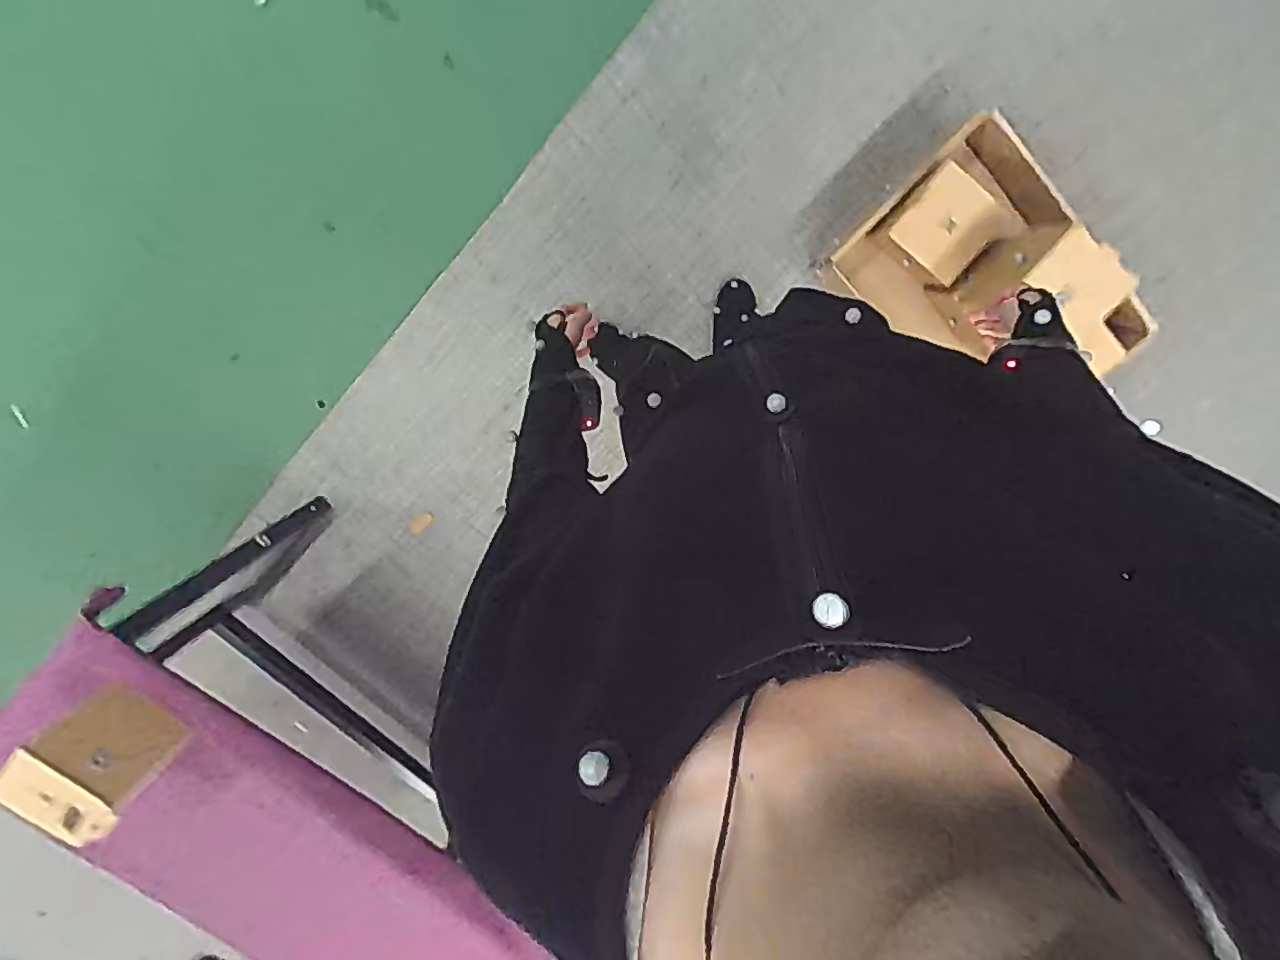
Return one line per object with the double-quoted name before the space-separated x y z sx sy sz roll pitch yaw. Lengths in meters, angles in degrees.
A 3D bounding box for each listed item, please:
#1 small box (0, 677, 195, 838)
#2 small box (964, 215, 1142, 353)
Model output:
"small box" -0.990 0.506 1.001 0.179 0.176 0.168 44 109 -12
"small box" 0.773 -0.374 1.036 0.168 0.176 0.179 35 111 -8
